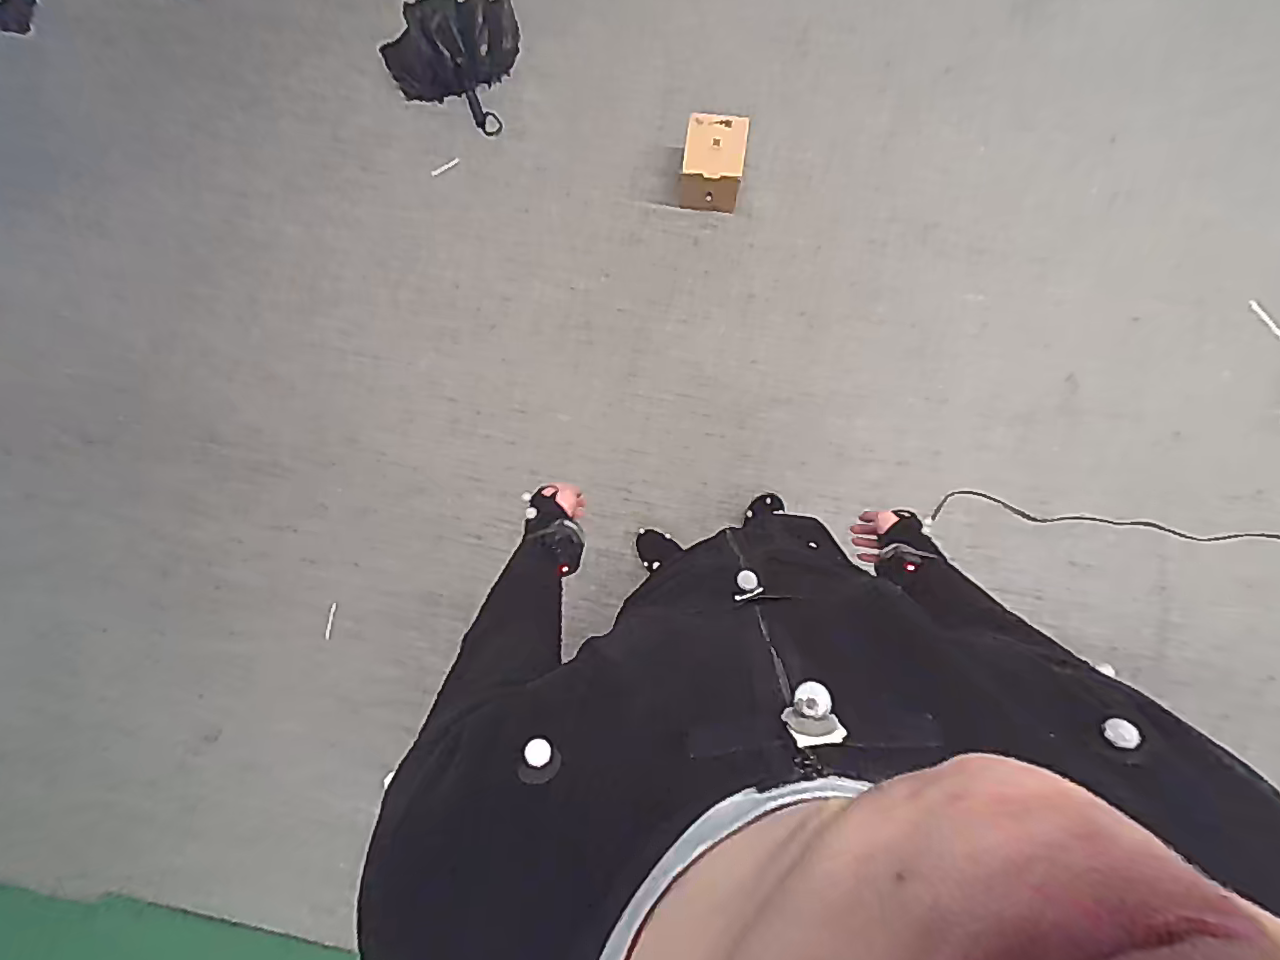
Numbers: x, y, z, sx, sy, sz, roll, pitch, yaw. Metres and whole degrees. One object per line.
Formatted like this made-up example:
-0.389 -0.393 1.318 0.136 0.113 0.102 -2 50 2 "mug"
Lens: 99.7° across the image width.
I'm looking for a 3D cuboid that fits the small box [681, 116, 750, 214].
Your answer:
0.209 -0.887 1.537 0.168 0.176 0.179 8 87 3 "small box"
